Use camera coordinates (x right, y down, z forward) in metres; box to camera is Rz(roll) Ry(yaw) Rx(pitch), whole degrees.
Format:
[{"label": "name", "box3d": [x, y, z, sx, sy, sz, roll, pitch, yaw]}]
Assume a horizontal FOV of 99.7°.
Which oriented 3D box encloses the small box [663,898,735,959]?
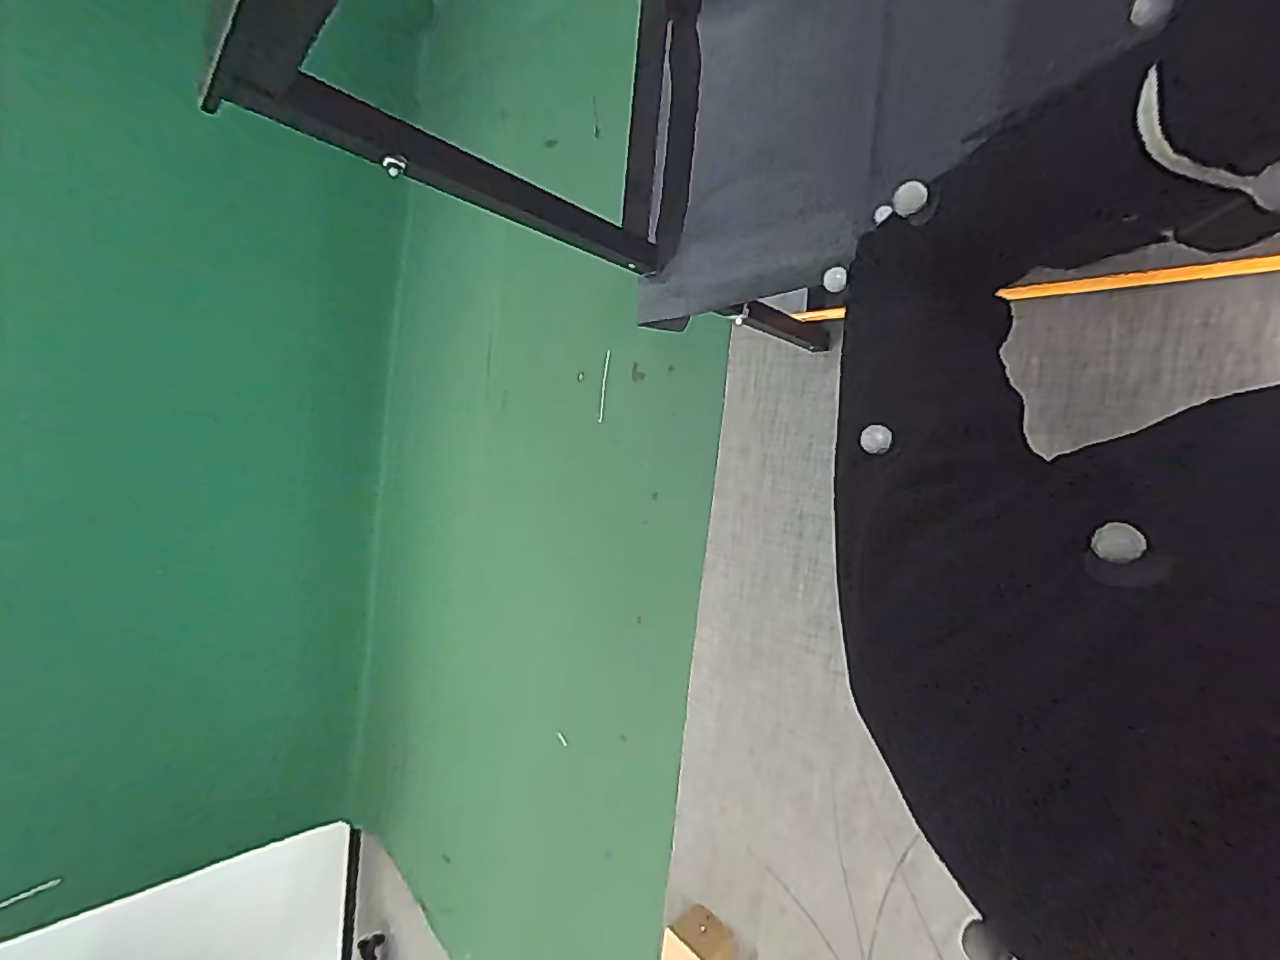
[{"label": "small box", "box3d": [0.198, 1.551, 1.793, 0.168, 0.176, 0.179, 11, 95, 46]}]
